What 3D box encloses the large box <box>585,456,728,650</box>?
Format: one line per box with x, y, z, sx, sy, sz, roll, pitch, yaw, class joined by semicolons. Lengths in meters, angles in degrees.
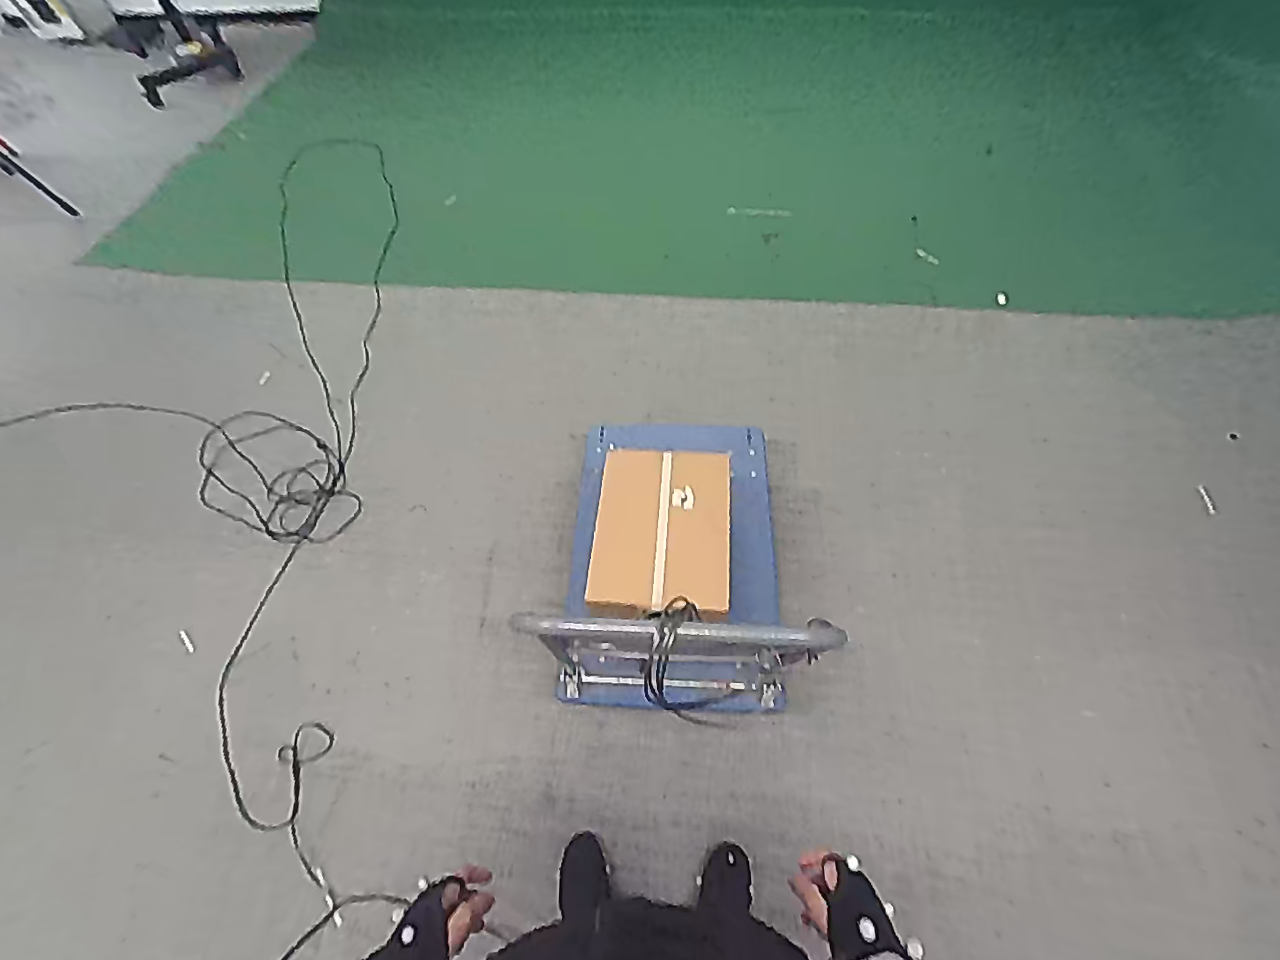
0.055;0.192;1.387;0.320;0.320;0.408;3;57;5;large box
